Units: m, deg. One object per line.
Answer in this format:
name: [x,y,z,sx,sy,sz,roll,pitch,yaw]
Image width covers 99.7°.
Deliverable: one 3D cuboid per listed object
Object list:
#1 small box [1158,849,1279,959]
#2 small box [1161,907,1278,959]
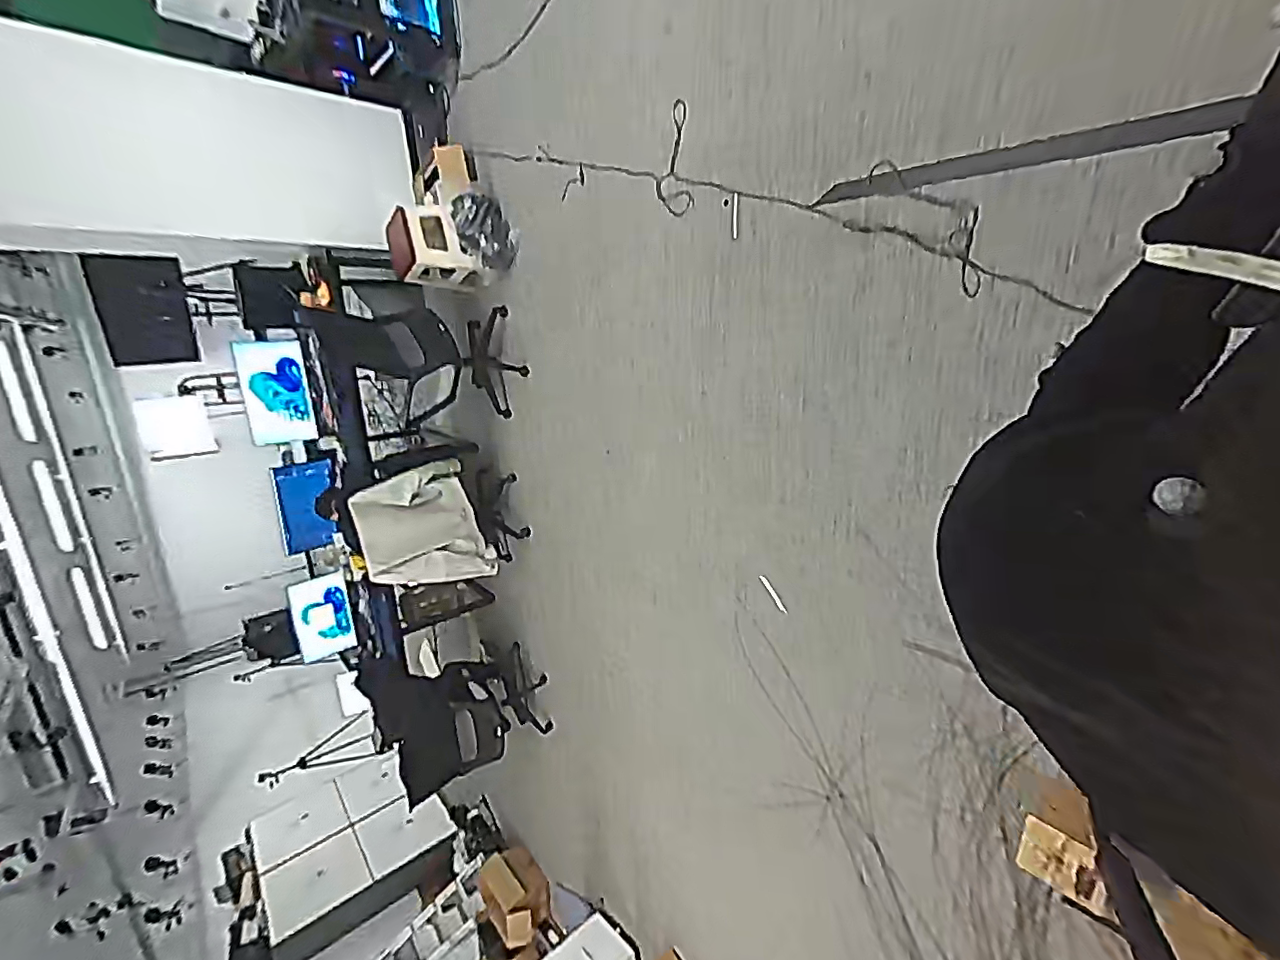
small box: [1.235,0.940,1.137,0.168,0.176,0.179,19,116,45]
small box: [1.115,0.985,1.034,0.168,0.176,0.179,15,114,47]
